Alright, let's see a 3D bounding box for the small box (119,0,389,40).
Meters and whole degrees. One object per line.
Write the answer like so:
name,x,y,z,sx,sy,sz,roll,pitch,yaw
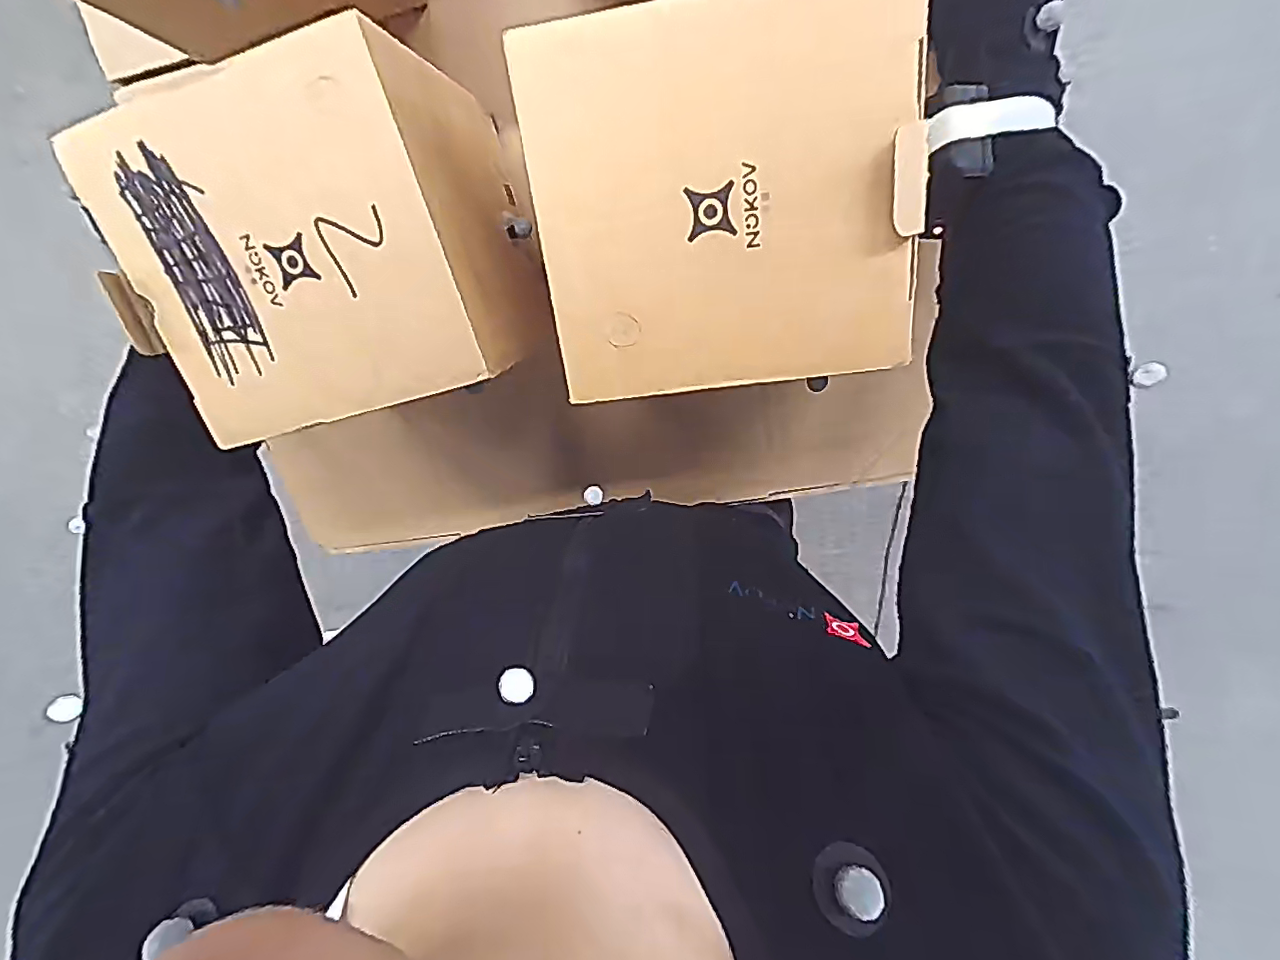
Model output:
small box,-0.251,-0.371,0.279,0.168,0.176,0.179,-9,106,9
